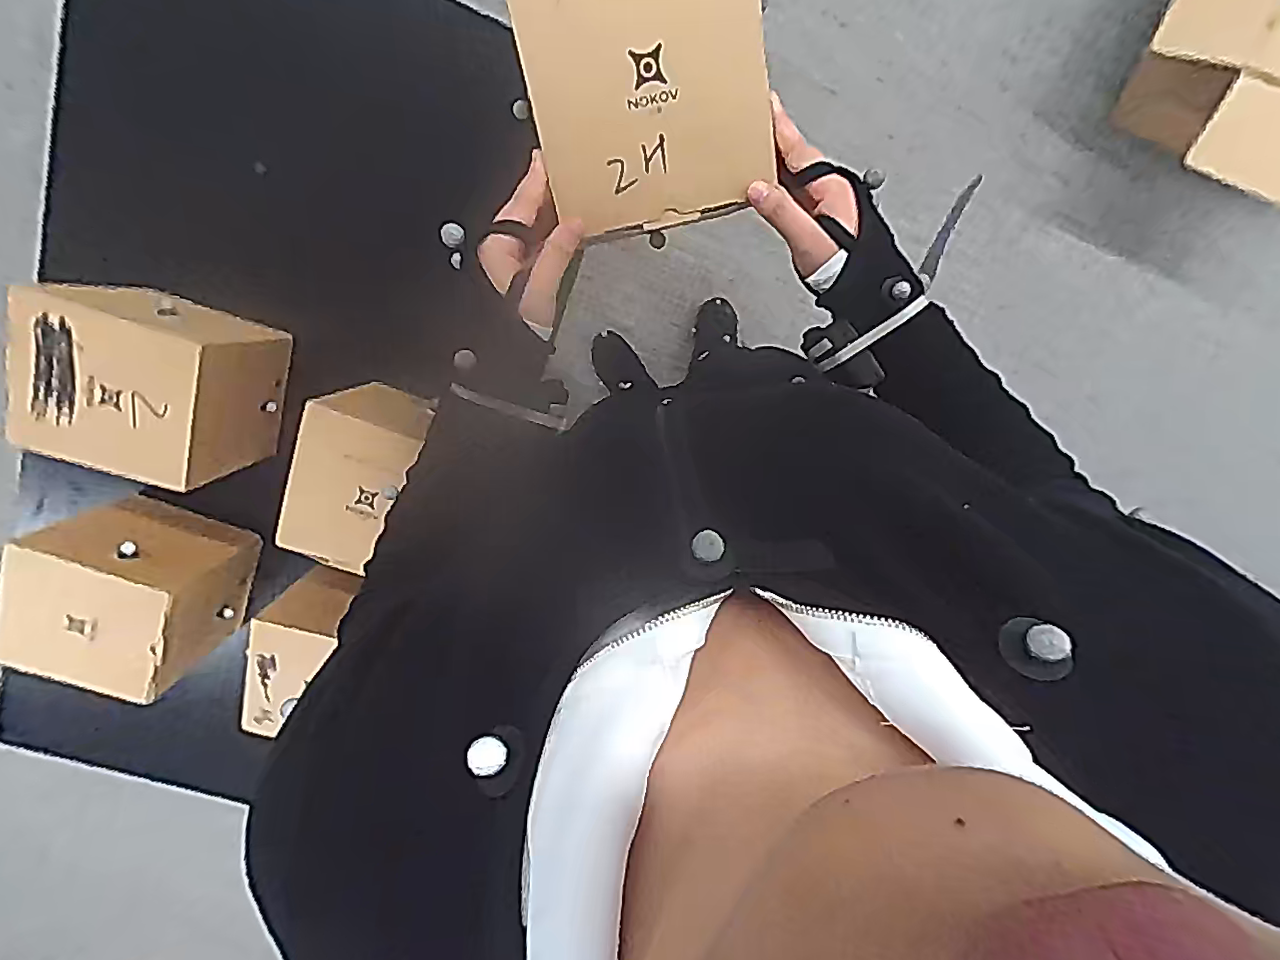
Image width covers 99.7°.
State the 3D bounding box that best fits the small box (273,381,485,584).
[{"bbox_3d":[-0.305,-0.006,0.664,0.168,0.176,0.179,19,105,-9],"label":"small box"}]

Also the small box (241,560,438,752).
[{"bbox_3d":[-0.392,0.227,0.731,0.179,0.176,0.168,15,106,-7],"label":"small box"}]

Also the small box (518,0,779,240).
[{"bbox_3d":[0.002,-0.306,0.440,0.168,0.176,0.179,-11,112,0],"label":"small box"}]

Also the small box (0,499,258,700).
[{"bbox_3d":[-0.647,0.140,0.696,0.179,0.176,0.168,22,105,-9],"label":"small box"}]
